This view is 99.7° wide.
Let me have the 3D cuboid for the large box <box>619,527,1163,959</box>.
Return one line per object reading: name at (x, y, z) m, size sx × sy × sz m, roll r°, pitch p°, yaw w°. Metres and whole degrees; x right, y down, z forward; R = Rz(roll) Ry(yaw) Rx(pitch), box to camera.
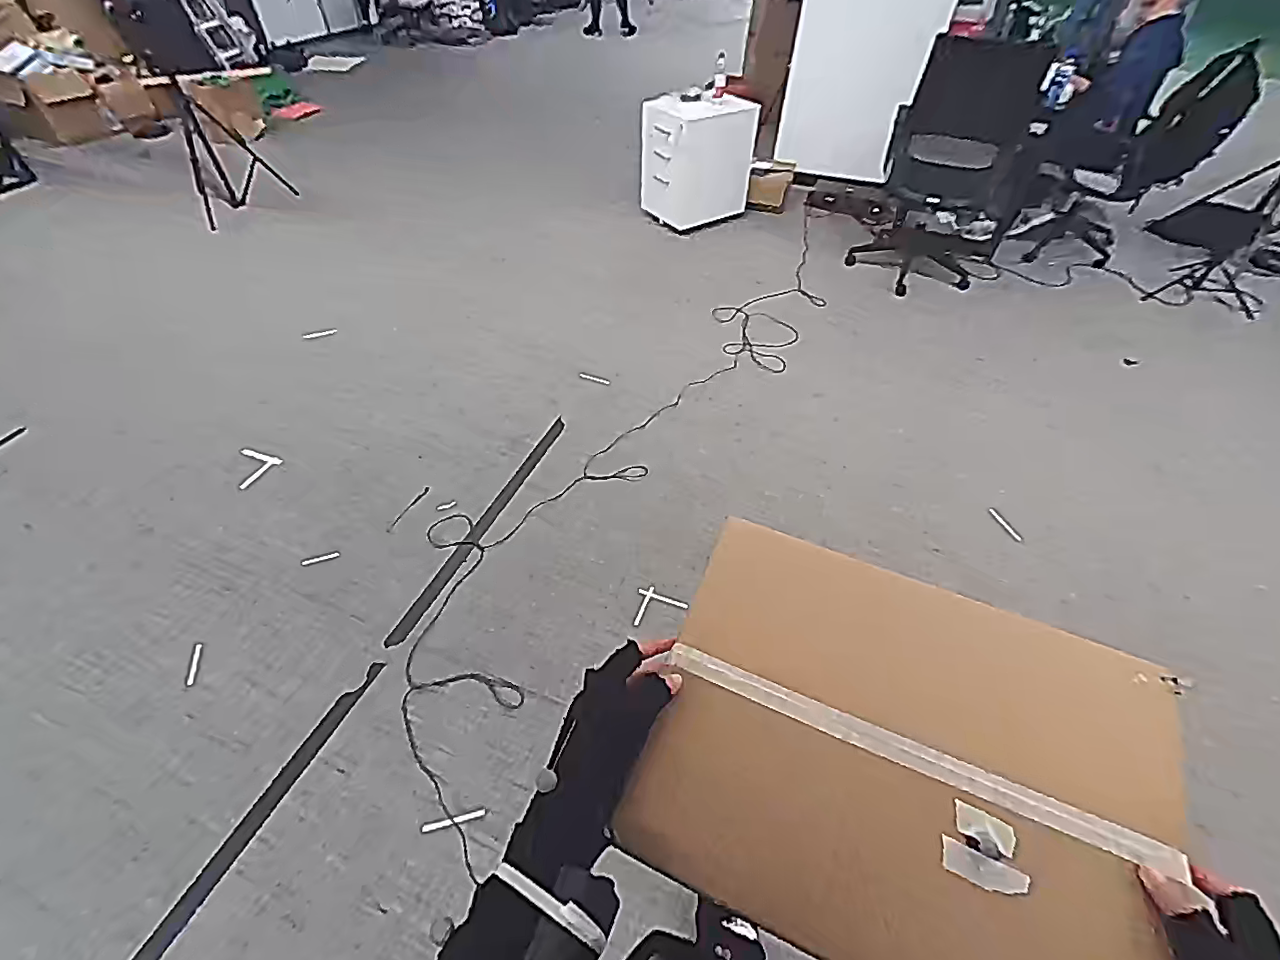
large box at (0.225, 0.307, 0.594) m, size 0.408 × 0.320 × 0.320 m, roll 19°, pitch 62°, yaw 14°
